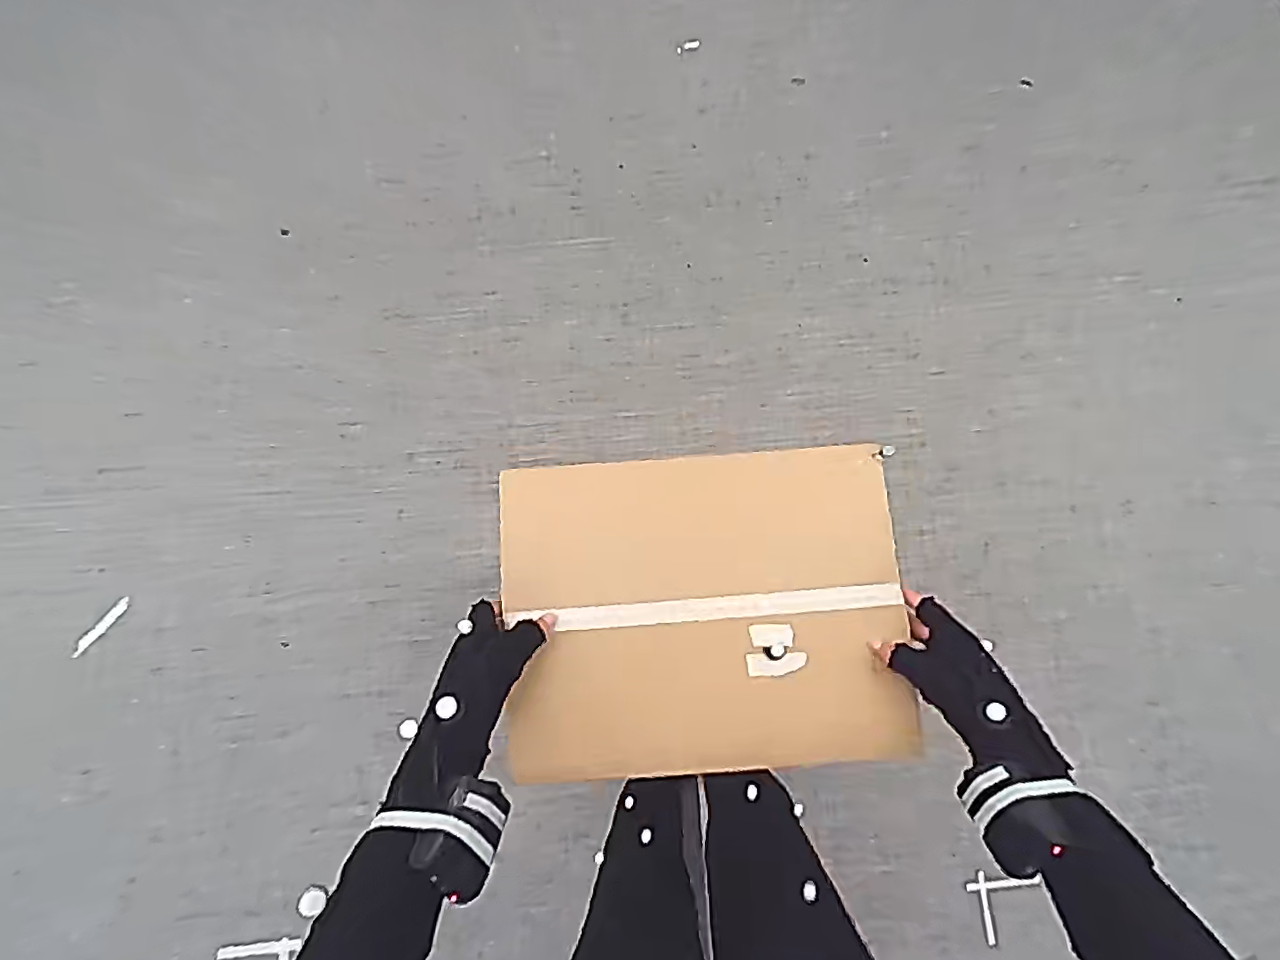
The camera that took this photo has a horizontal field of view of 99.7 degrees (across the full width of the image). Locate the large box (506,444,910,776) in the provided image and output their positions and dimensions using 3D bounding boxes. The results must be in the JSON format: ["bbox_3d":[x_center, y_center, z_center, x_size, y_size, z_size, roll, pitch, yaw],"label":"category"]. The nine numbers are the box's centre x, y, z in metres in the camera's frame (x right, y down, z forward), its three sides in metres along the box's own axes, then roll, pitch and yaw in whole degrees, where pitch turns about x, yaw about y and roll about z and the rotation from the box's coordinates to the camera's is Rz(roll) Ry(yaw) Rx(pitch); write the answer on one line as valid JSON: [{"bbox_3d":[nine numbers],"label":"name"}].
[{"bbox_3d":[0.063,0.153,0.714,0.408,0.320,0.320,-5,81,-1],"label":"large box"}]
